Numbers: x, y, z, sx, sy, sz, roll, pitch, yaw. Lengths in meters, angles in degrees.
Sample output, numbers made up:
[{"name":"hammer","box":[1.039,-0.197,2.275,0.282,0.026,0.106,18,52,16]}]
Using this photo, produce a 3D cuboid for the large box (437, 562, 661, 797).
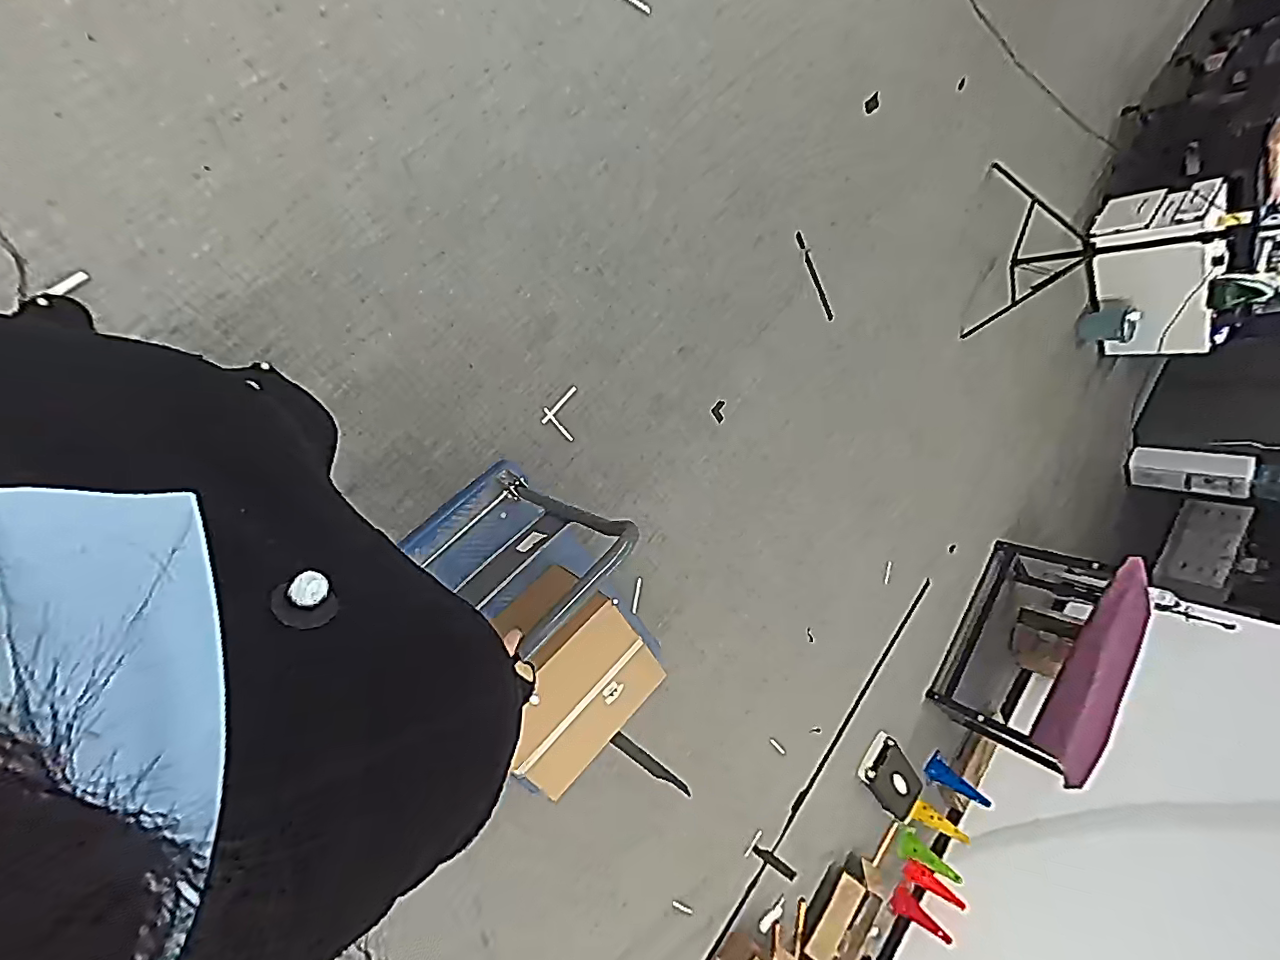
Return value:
[{"name":"large box","box":[-0.232,0.485,1.386,0.408,0.320,0.320,-44,121,-22]}]
